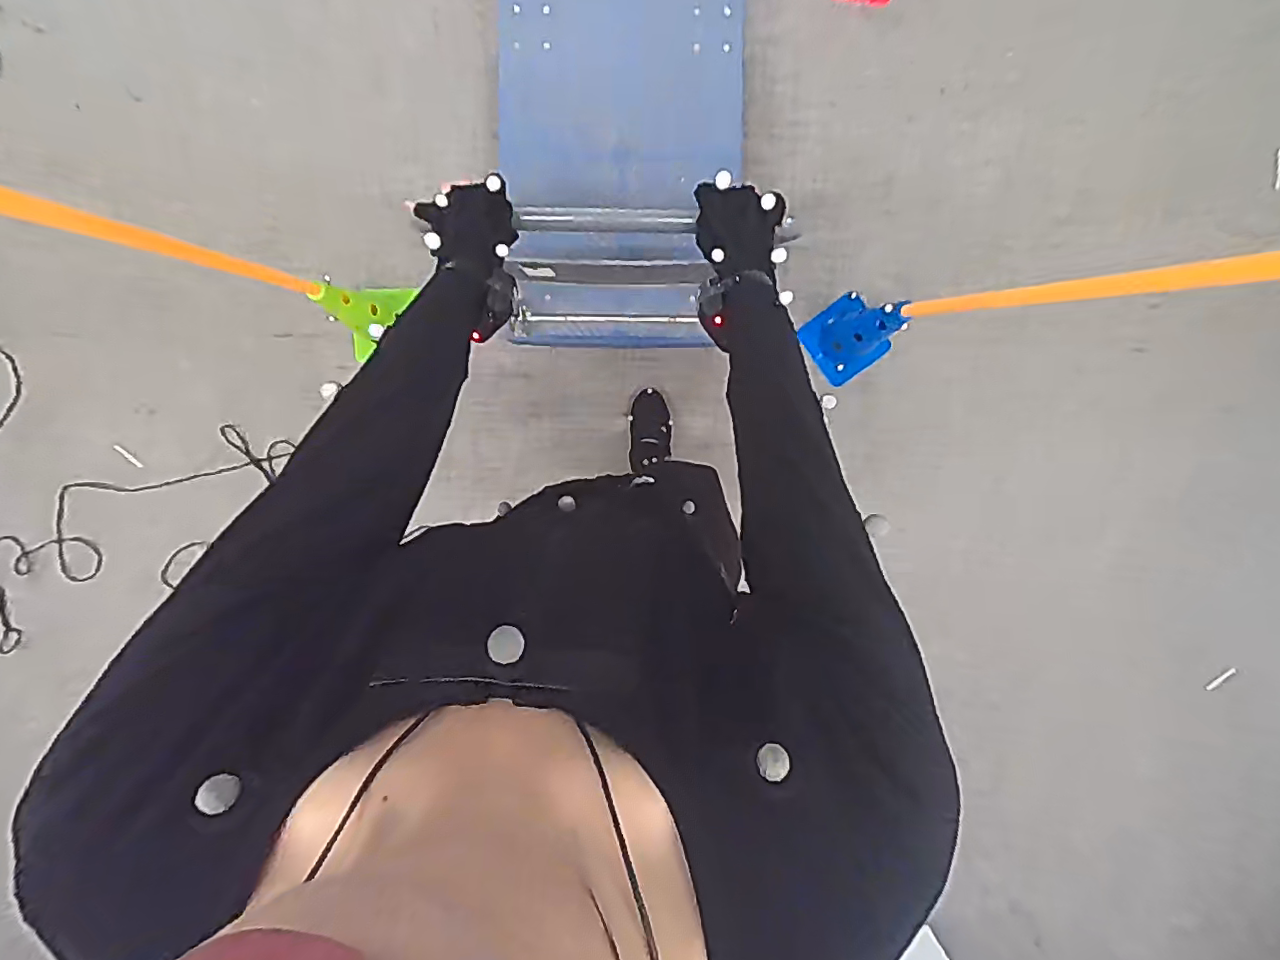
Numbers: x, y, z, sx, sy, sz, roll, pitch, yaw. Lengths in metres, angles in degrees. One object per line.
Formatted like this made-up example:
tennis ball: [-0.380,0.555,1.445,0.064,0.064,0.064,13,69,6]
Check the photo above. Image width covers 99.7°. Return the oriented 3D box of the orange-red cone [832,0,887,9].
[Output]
orange-red cone: [0.570,-1.341,1.251,0.198,0.360,0.199,11,94,0]
